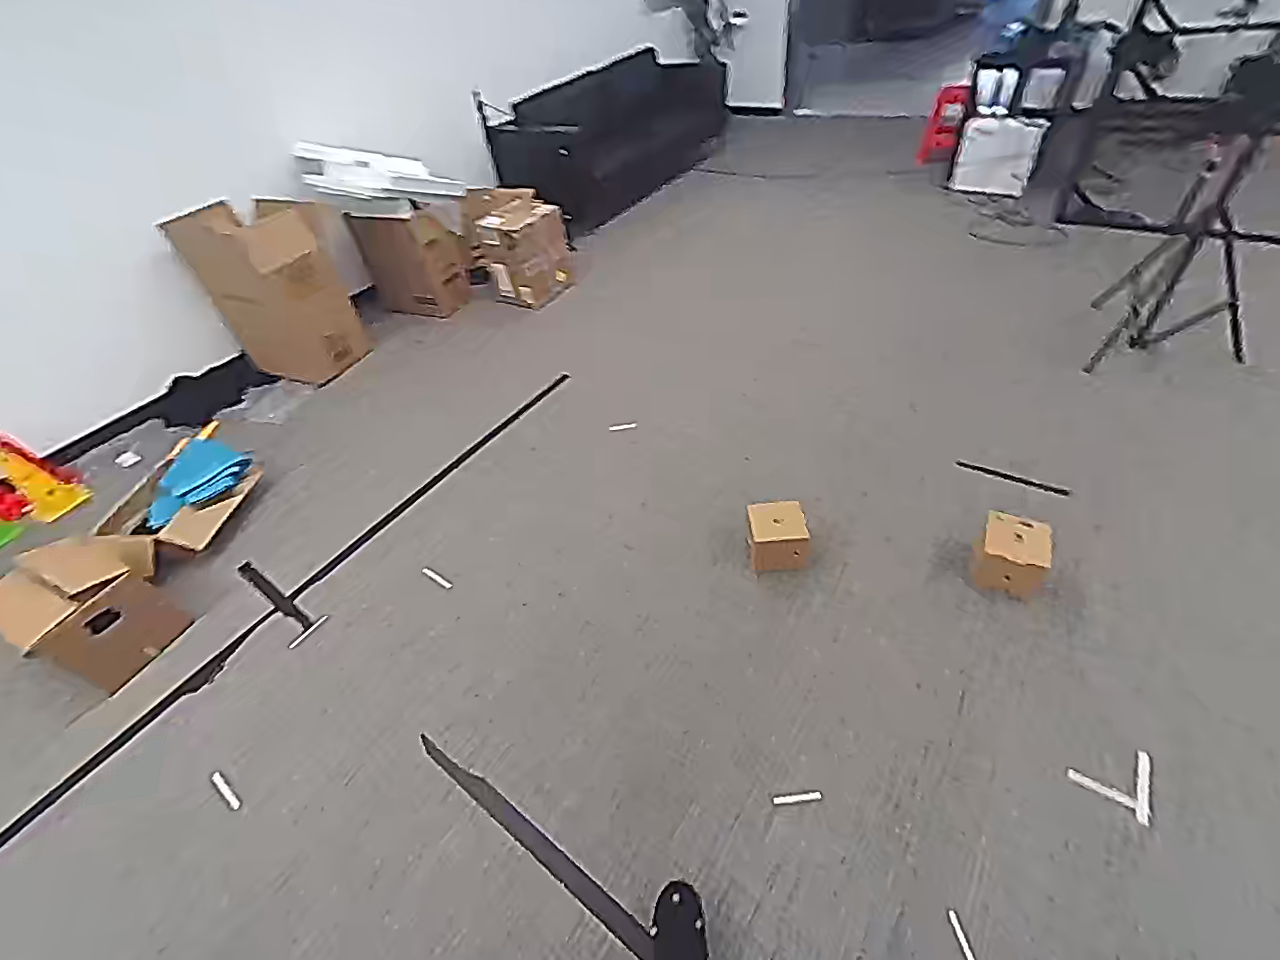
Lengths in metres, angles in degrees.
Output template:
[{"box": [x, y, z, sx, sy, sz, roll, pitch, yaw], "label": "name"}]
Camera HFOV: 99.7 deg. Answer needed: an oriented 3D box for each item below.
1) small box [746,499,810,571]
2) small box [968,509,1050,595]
[{"box": [0.454, 0.187, 1.809, 0.179, 0.176, 0.168, -7, 43, 4], "label": "small box"}, {"box": [1.122, 0.222, 1.652, 0.168, 0.176, 0.179, 16, 51, 24], "label": "small box"}]
